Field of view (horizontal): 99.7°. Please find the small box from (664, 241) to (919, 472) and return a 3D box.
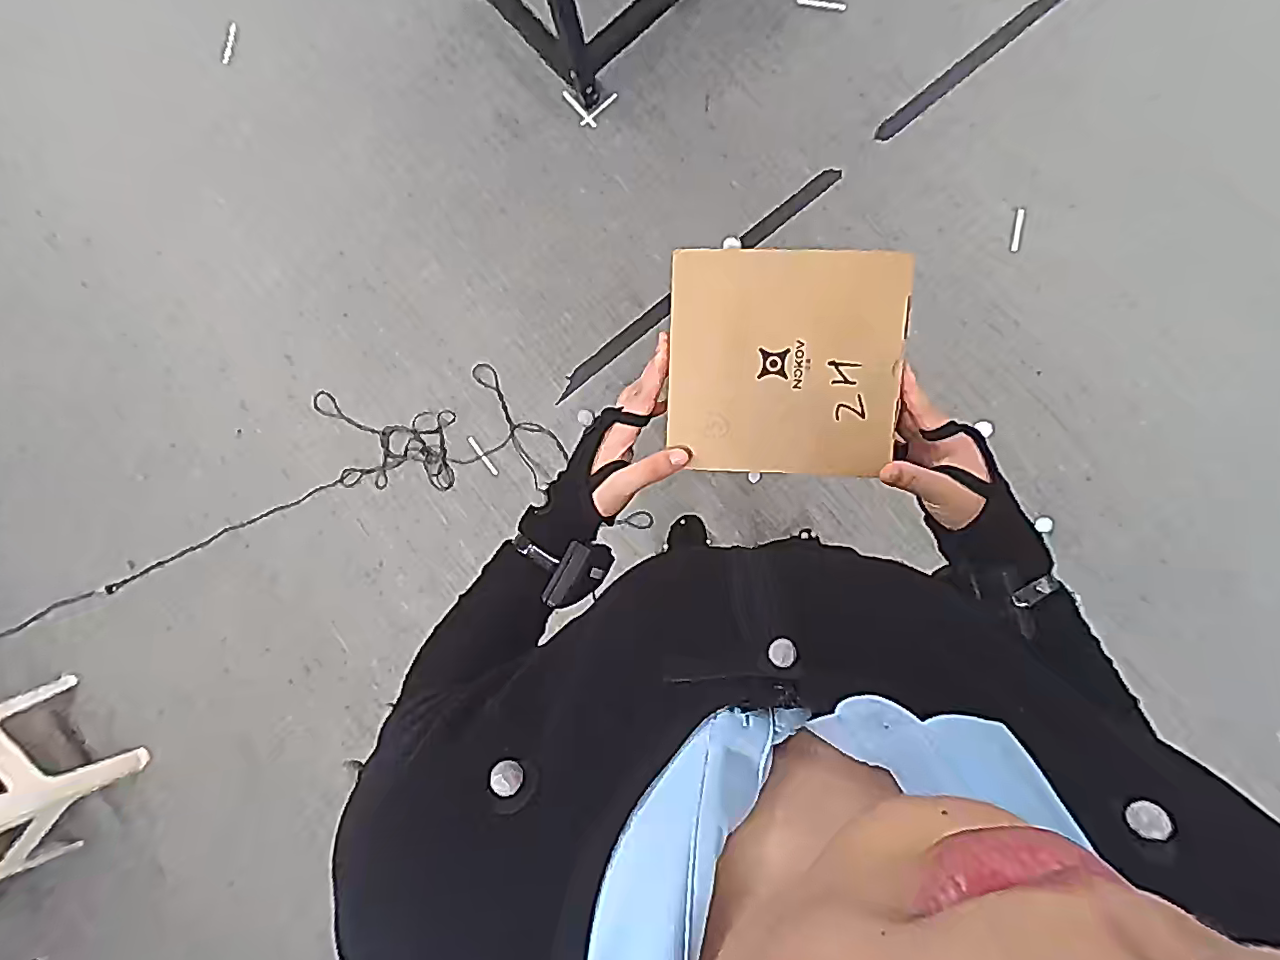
[{"bbox_3d":[0.115,-0.105,0.481,0.179,0.176,0.168,2,101,4],"label":"small box"}]
